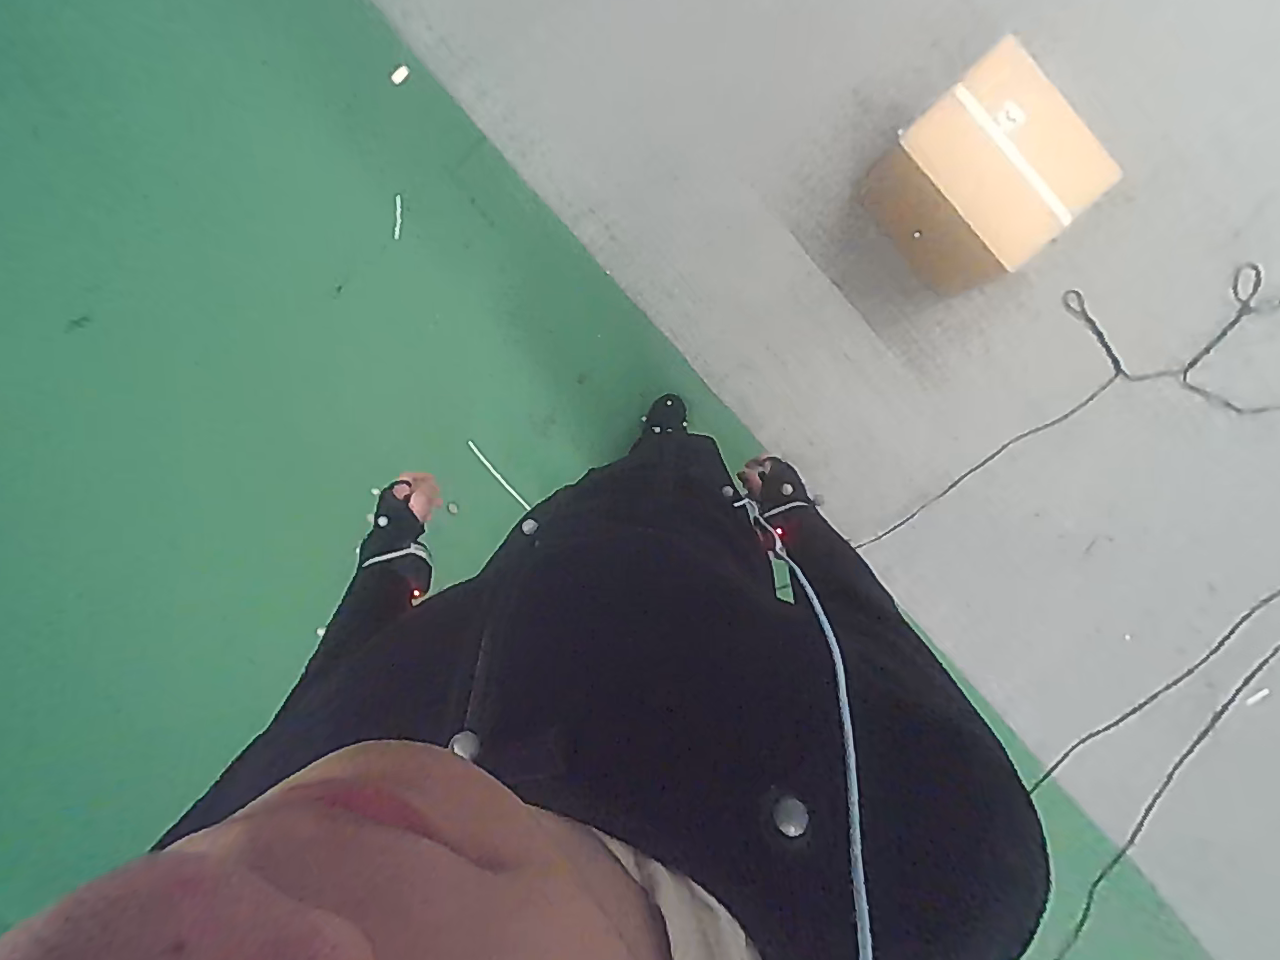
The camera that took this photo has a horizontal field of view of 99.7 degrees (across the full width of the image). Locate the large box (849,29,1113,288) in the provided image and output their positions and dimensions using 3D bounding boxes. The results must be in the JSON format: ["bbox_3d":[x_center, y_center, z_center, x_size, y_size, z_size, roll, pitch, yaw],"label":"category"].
[{"bbox_3d":[0.813,-0.761,1.352,0.320,0.320,0.408,-44,93,7],"label":"large box"}]
